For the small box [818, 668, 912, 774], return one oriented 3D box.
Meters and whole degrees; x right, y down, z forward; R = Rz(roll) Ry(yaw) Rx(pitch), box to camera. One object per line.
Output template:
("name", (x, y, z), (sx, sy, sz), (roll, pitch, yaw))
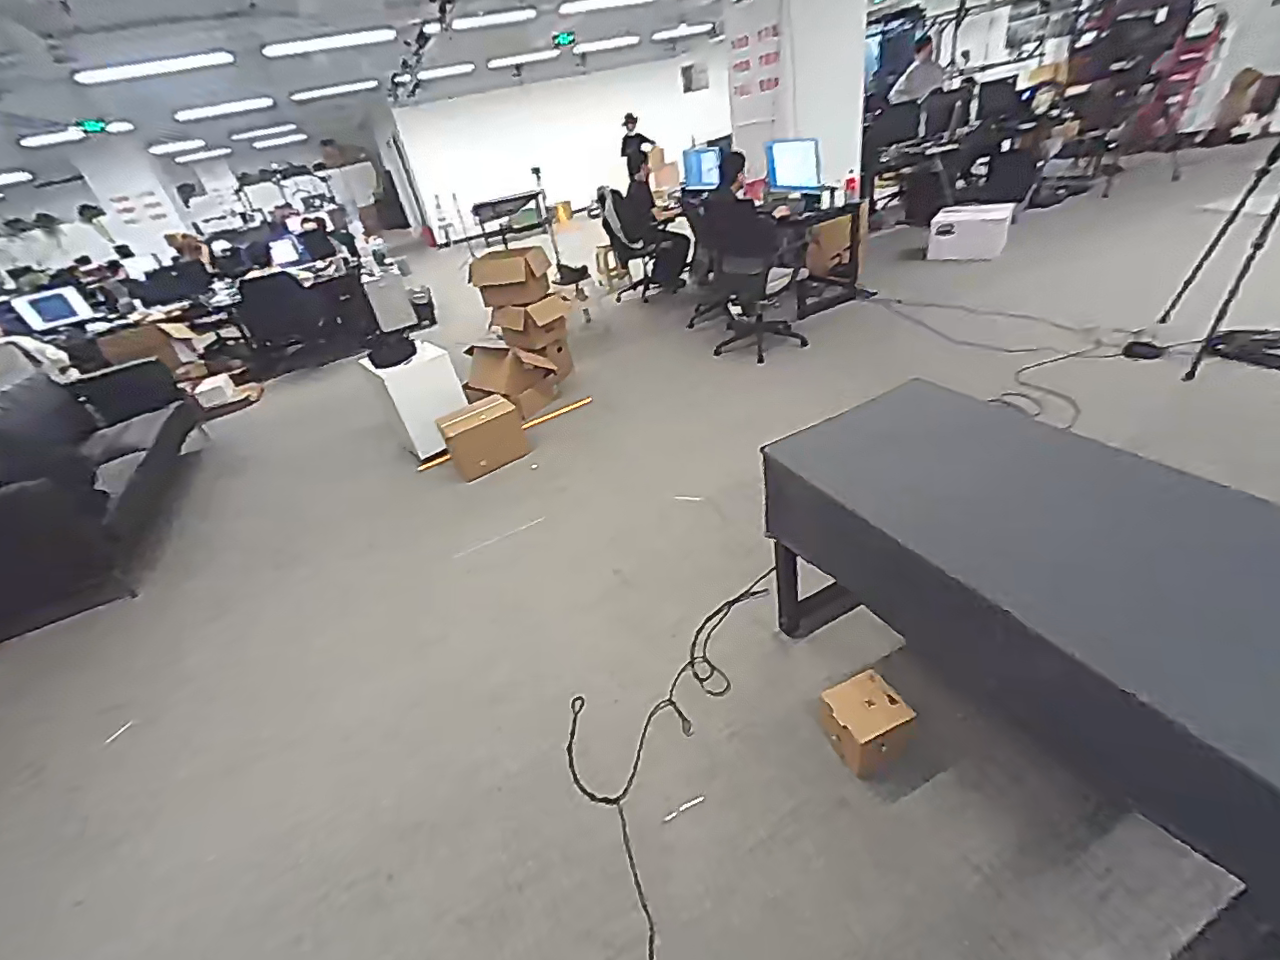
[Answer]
("small box", (0.606, 0.657, 1.467), (0.179, 0.176, 0.168), (-20, 33, -12))
